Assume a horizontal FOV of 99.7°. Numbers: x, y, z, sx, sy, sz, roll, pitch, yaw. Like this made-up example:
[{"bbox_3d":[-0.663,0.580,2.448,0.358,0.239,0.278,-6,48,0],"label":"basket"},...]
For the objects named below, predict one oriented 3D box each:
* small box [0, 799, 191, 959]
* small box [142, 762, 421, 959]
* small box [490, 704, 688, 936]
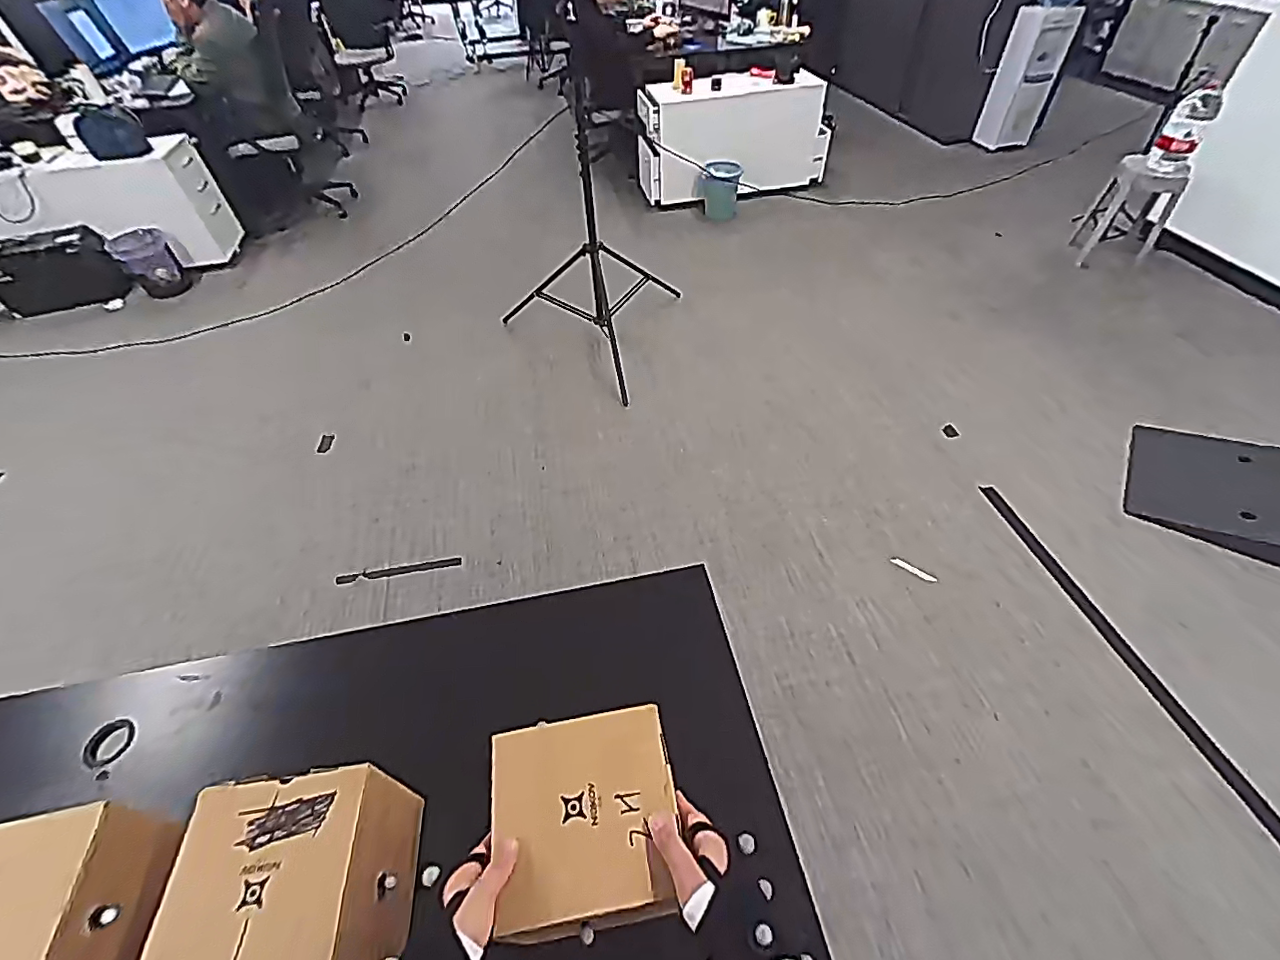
[{"bbox_3d":[-0.583,0.445,0.530,0.168,0.176,0.179,-10,48,-7],"label":"small box"},{"bbox_3d":[-0.337,0.411,0.546,0.168,0.176,0.179,-7,49,-3],"label":"small box"},{"bbox_3d":[-0.050,0.363,0.575,0.179,0.176,0.168,-9,49,-5],"label":"small box"}]
